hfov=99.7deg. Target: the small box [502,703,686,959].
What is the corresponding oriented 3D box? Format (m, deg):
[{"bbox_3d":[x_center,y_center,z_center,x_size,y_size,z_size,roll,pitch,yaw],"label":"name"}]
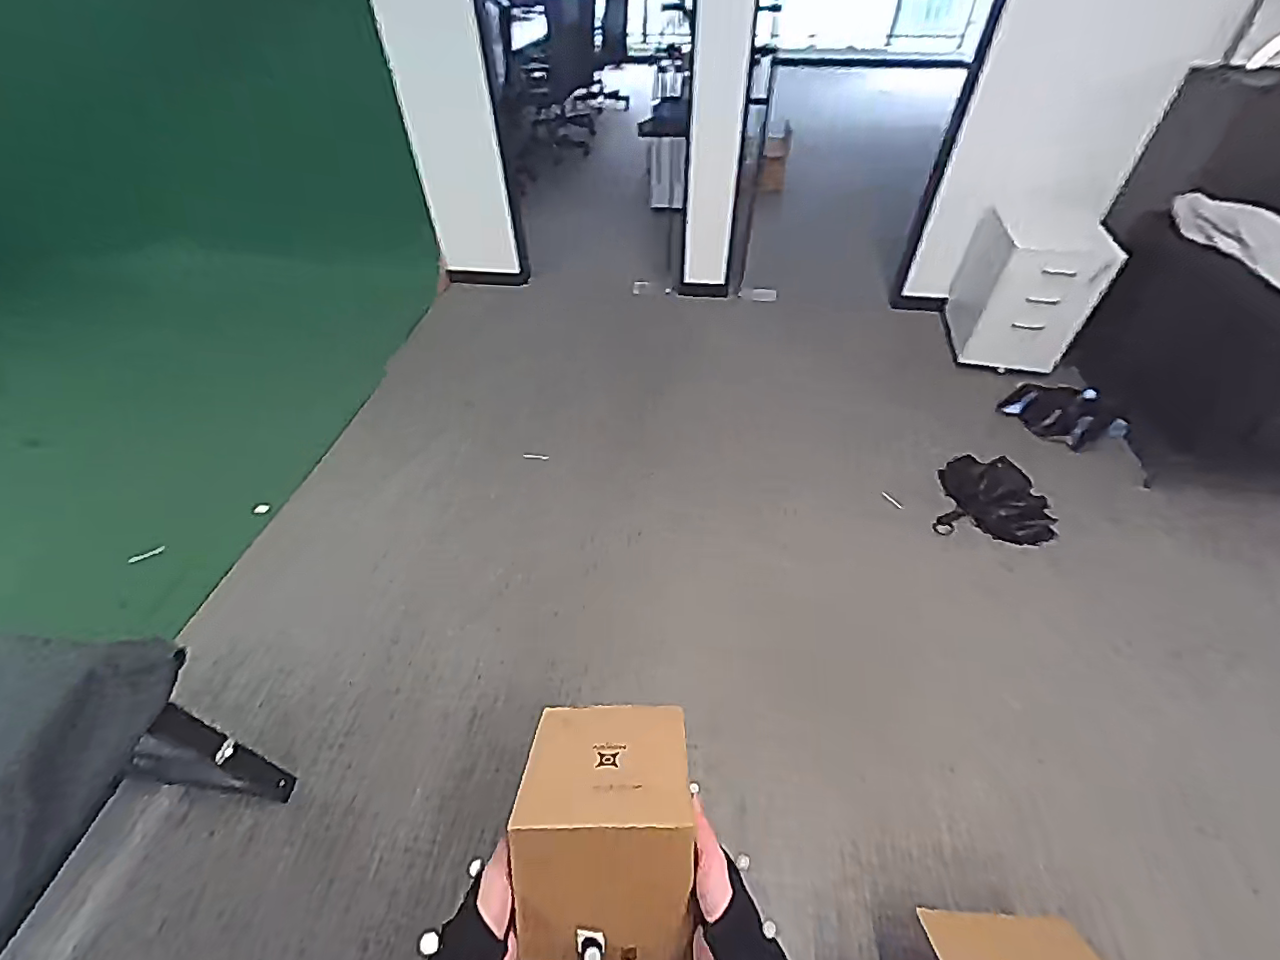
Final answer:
[{"bbox_3d":[-0.040,0.361,0.571,0.168,0.176,0.179,-1,12,1],"label":"small box"}]
